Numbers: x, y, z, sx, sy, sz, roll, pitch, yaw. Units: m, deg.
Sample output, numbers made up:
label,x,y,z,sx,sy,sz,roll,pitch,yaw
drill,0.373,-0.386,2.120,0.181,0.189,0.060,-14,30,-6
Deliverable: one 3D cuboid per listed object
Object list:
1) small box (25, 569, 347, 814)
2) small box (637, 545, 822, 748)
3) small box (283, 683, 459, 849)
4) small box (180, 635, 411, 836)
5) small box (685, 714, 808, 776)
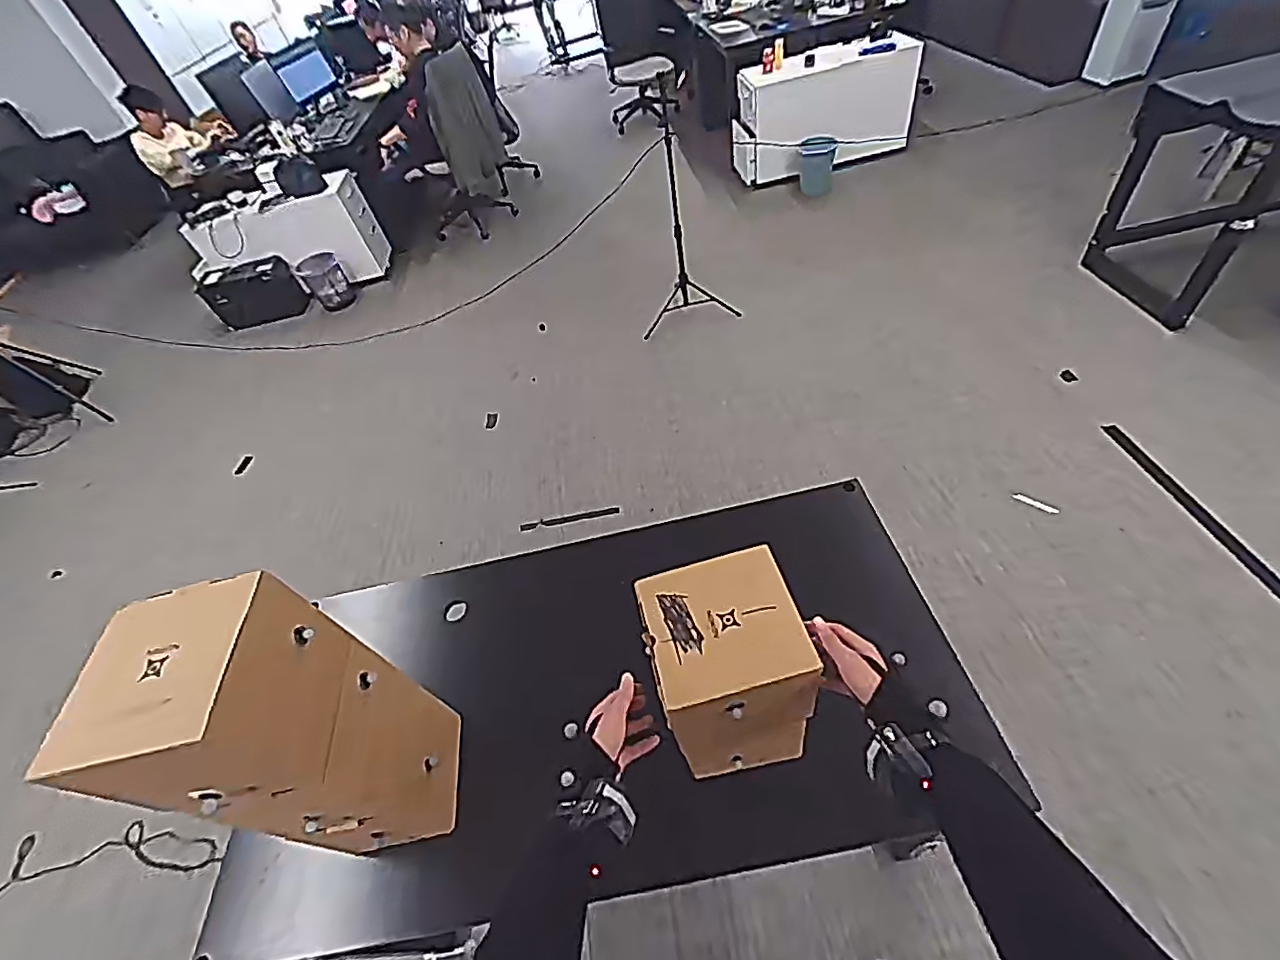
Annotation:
label,x,y,z,sx,sy,sz,roll,pitch,yaw
small box,-0.442,0.225,0.571,0.168,0.176,0.179,-15,49,2
small box,0.108,0.212,0.674,0.179,0.176,0.168,-15,49,-1
small box,-0.387,0.436,0.815,0.168,0.176,0.179,-14,49,1
small box,-0.415,0.329,0.693,0.168,0.176,0.179,-14,49,2
small box,0.135,0.312,0.801,0.168,0.176,0.179,-13,49,2
